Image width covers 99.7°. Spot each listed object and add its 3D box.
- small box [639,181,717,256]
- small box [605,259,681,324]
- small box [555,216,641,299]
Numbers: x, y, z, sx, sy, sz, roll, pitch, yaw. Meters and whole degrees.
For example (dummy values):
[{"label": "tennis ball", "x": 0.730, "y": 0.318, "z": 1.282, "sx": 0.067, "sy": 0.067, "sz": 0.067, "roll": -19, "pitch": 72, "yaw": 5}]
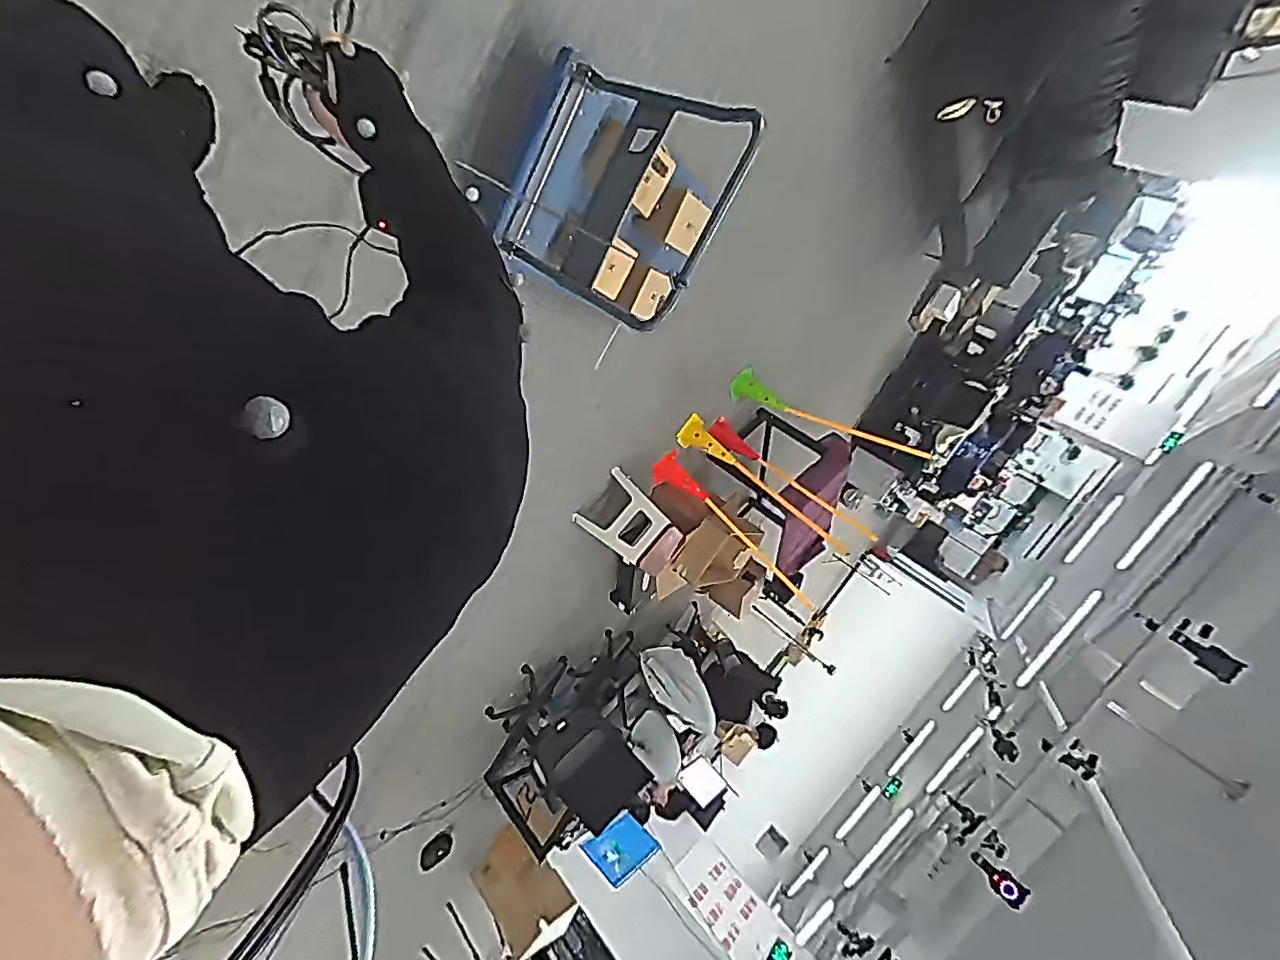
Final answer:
[{"label": "small box", "x": 0.126, "y": -0.903, "z": 1.863, "sx": 0.179, "sy": 0.176, "sz": 0.168, "roll": 0, "pitch": 123, "yaw": -54}, {"label": "small box", "x": 0.010, "y": -0.686, "z": 1.937, "sx": 0.179, "sy": 0.176, "sz": 0.168, "roll": 4, "pitch": 119, "yaw": -54}, {"label": "small box", "x": -0.134, "y": -0.710, "z": 1.719, "sx": 0.179, "sy": 0.176, "sz": 0.168, "roll": 8, "pitch": 116, "yaw": -56}]
